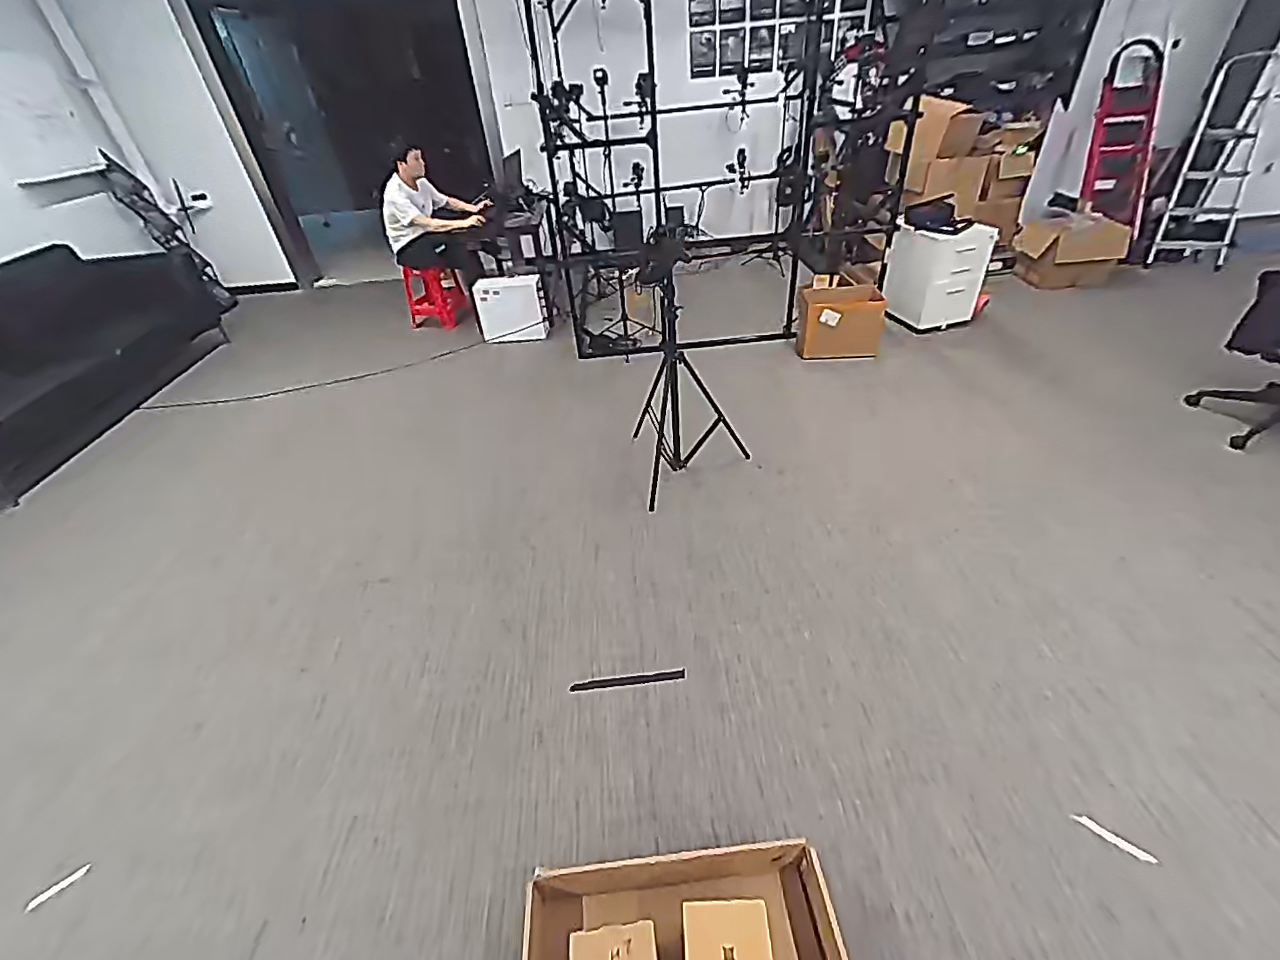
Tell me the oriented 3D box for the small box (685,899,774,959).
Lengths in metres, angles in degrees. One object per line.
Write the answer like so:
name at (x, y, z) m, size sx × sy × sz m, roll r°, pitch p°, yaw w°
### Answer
small box at (0.172, 0.952, 1.054) m, size 0.168 × 0.176 × 0.179 m, roll -4°, pitch 38°, yaw 3°

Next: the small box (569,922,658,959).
small box at (-0.042, 0.985, 1.032) m, size 0.168 × 0.176 × 0.179 m, roll -6°, pitch 37°, yaw -4°
